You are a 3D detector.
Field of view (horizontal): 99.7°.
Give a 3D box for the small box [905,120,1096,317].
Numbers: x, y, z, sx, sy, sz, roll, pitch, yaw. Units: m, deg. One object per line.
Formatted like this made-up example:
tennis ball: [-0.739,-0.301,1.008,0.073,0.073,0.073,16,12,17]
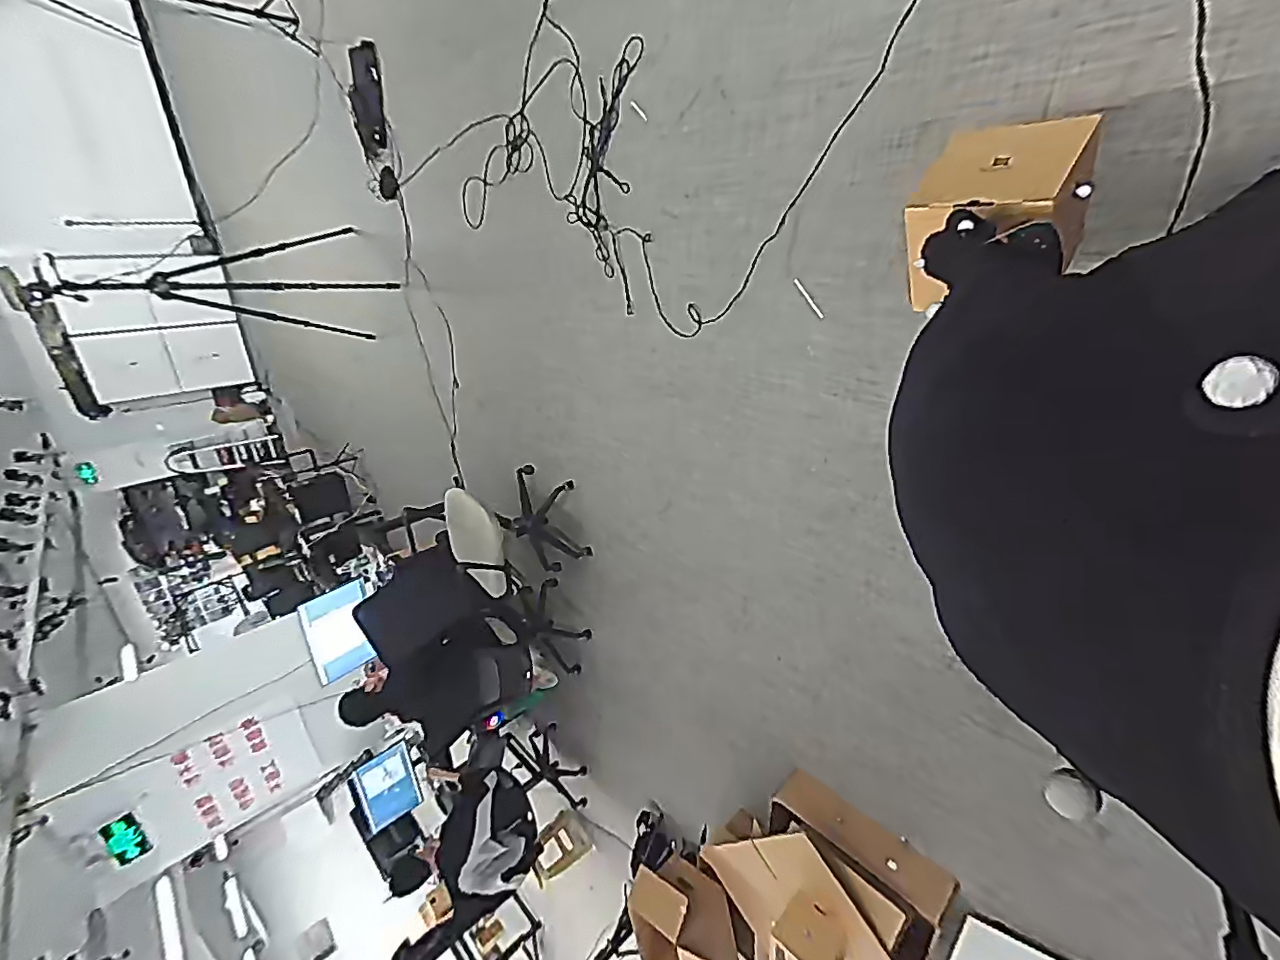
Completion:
small box: [0.488,-0.352,0.746,0.168,0.179,0.176,21,156,41]
